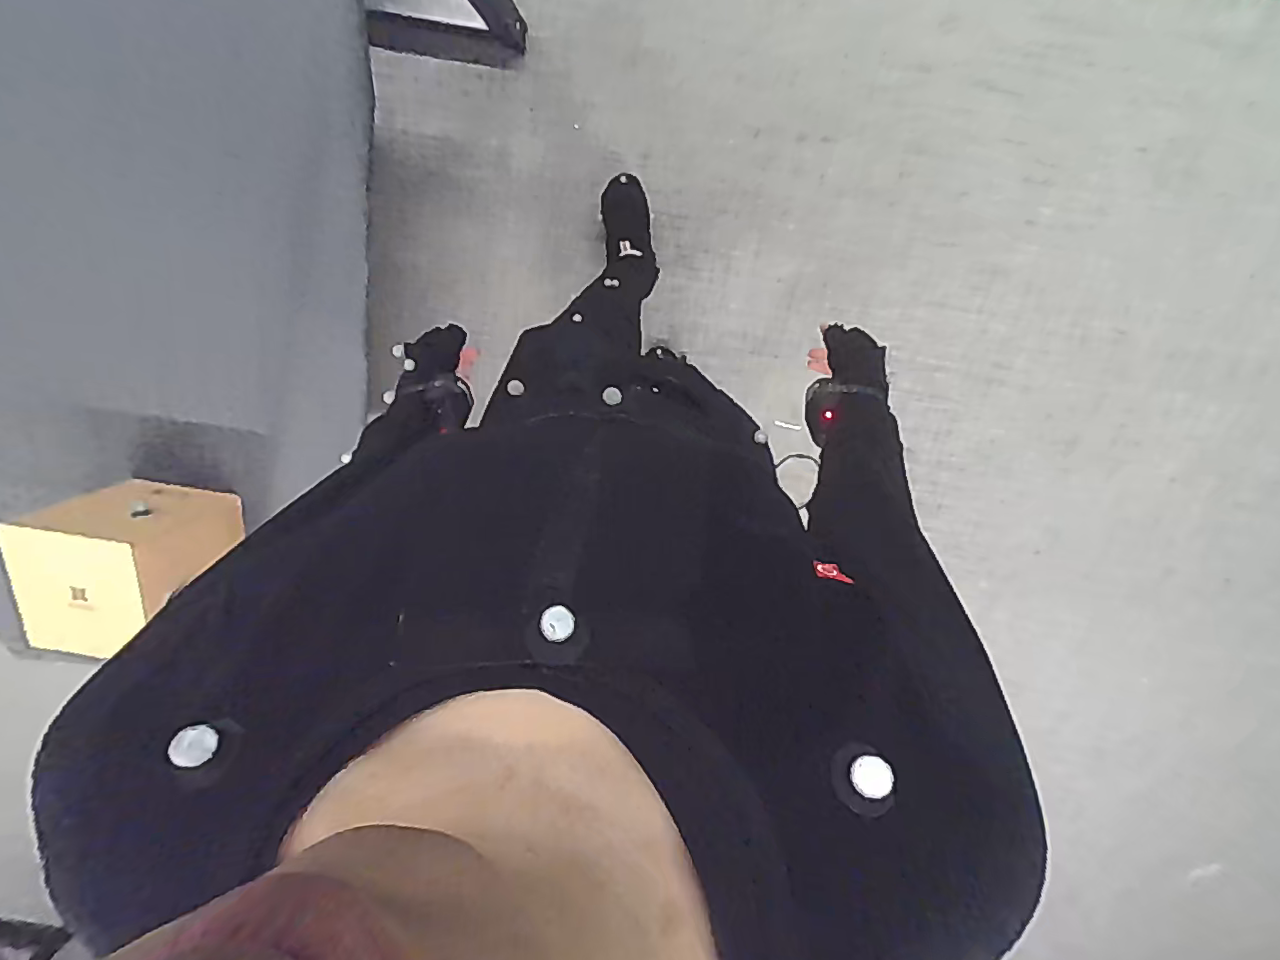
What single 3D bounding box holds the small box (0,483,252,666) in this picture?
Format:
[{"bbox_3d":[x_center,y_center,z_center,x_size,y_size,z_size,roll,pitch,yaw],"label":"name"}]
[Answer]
[{"bbox_3d":[-0.666,0.116,0.727,0.168,0.176,0.179,8,111,2],"label":"small box"}]
